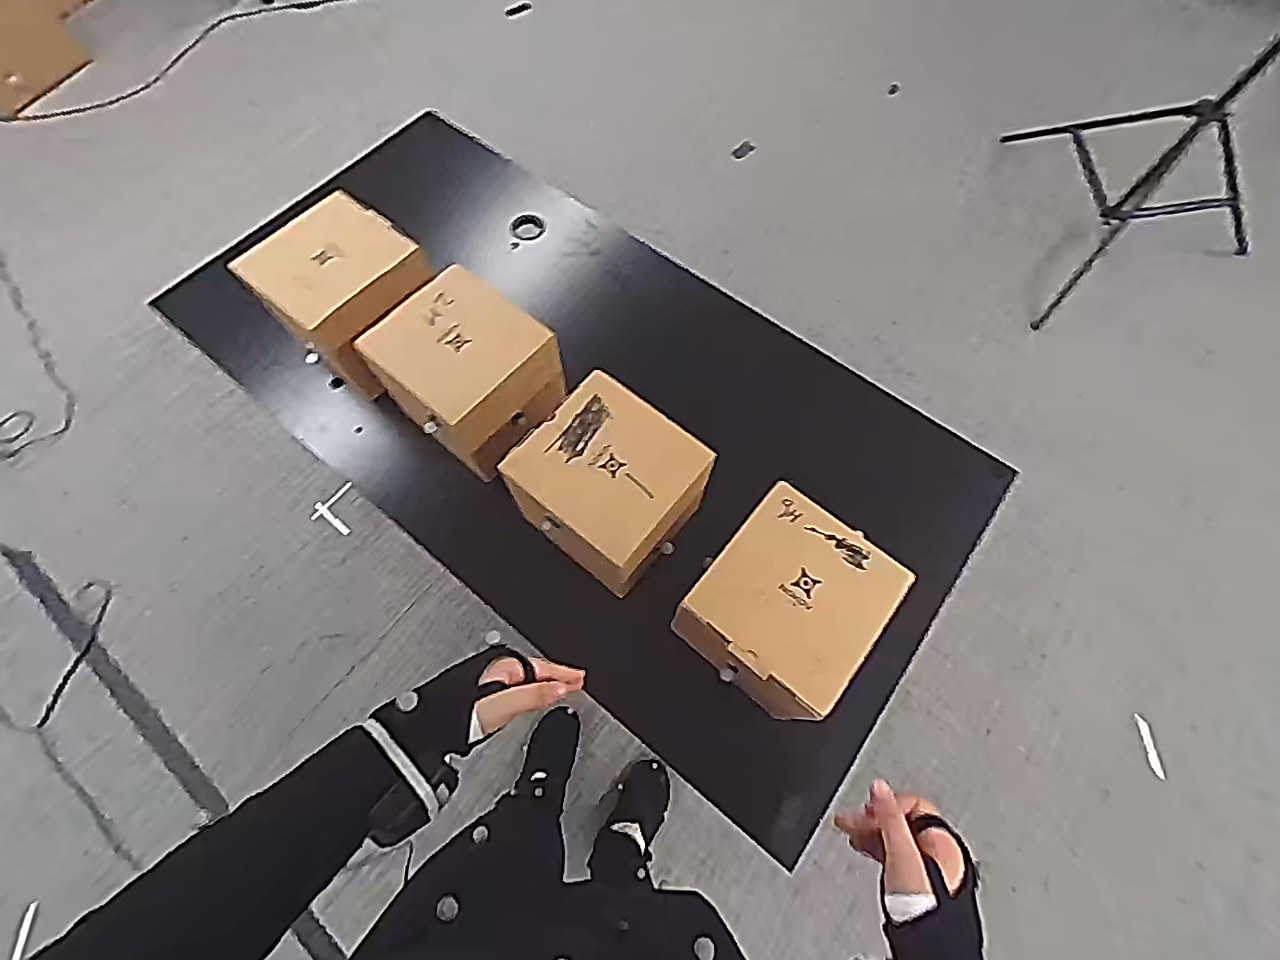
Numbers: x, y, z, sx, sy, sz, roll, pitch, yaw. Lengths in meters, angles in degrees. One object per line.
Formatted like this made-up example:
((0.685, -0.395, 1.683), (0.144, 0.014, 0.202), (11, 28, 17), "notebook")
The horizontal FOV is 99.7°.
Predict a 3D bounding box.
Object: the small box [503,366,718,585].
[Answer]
((-0.033, 0.005, 0.653), (0.179, 0.176, 0.168), (38, 72, 13), "small box")

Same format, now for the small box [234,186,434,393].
((-0.396, -0.259, 0.758), (0.168, 0.176, 0.179), (36, 72, 14), "small box")

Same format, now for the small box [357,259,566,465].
((-0.216, -0.141, 0.710), (0.179, 0.176, 0.168), (38, 72, 14), "small box")
